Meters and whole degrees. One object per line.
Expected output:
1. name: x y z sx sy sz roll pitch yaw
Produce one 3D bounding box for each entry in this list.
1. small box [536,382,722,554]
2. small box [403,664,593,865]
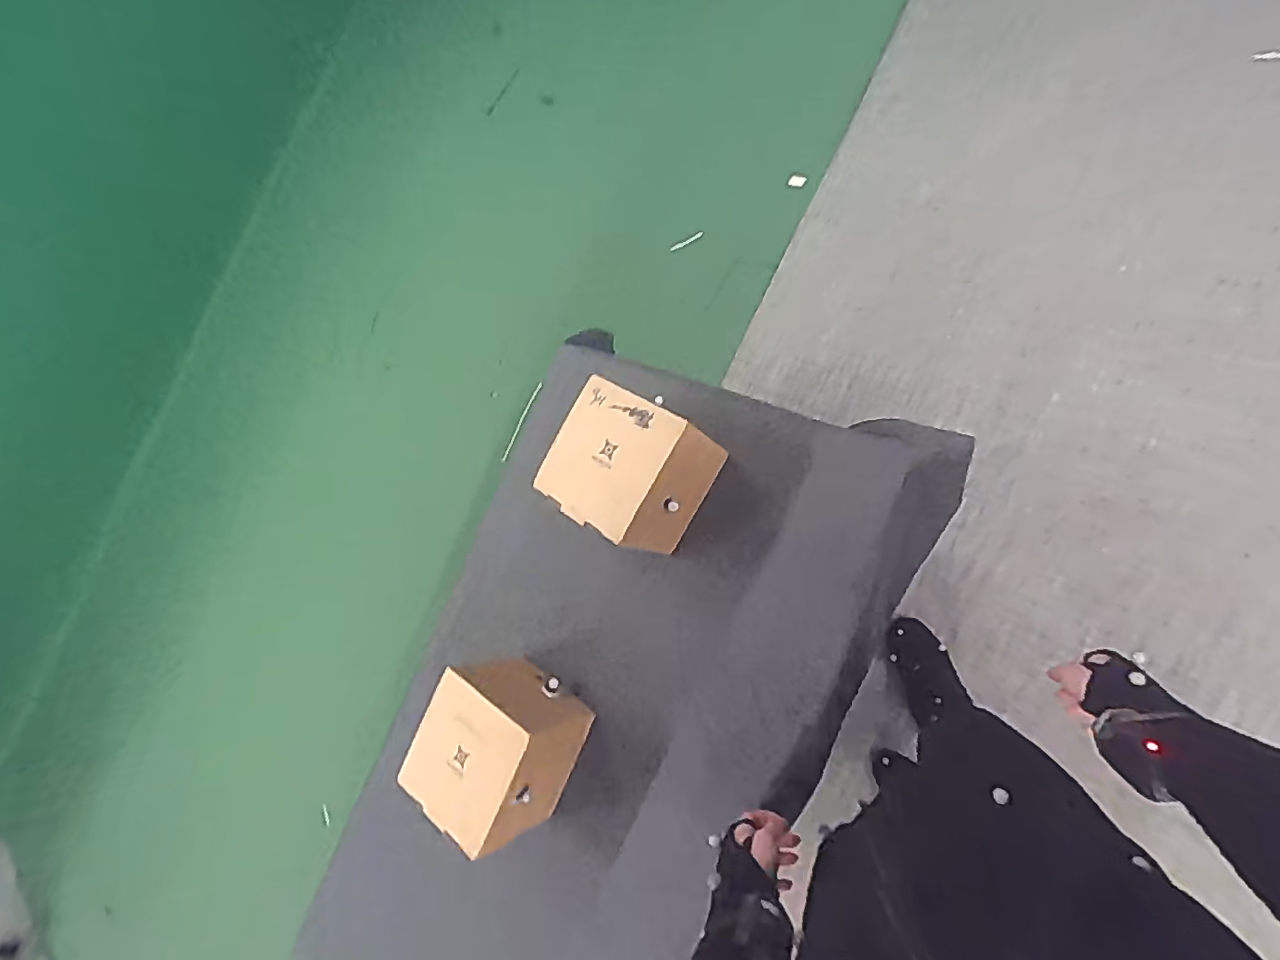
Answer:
1. small box: -0.007 -0.008 0.766 0.168 0.176 0.179 31 94 29
2. small box: -0.193 0.387 0.775 0.168 0.176 0.179 23 88 28
